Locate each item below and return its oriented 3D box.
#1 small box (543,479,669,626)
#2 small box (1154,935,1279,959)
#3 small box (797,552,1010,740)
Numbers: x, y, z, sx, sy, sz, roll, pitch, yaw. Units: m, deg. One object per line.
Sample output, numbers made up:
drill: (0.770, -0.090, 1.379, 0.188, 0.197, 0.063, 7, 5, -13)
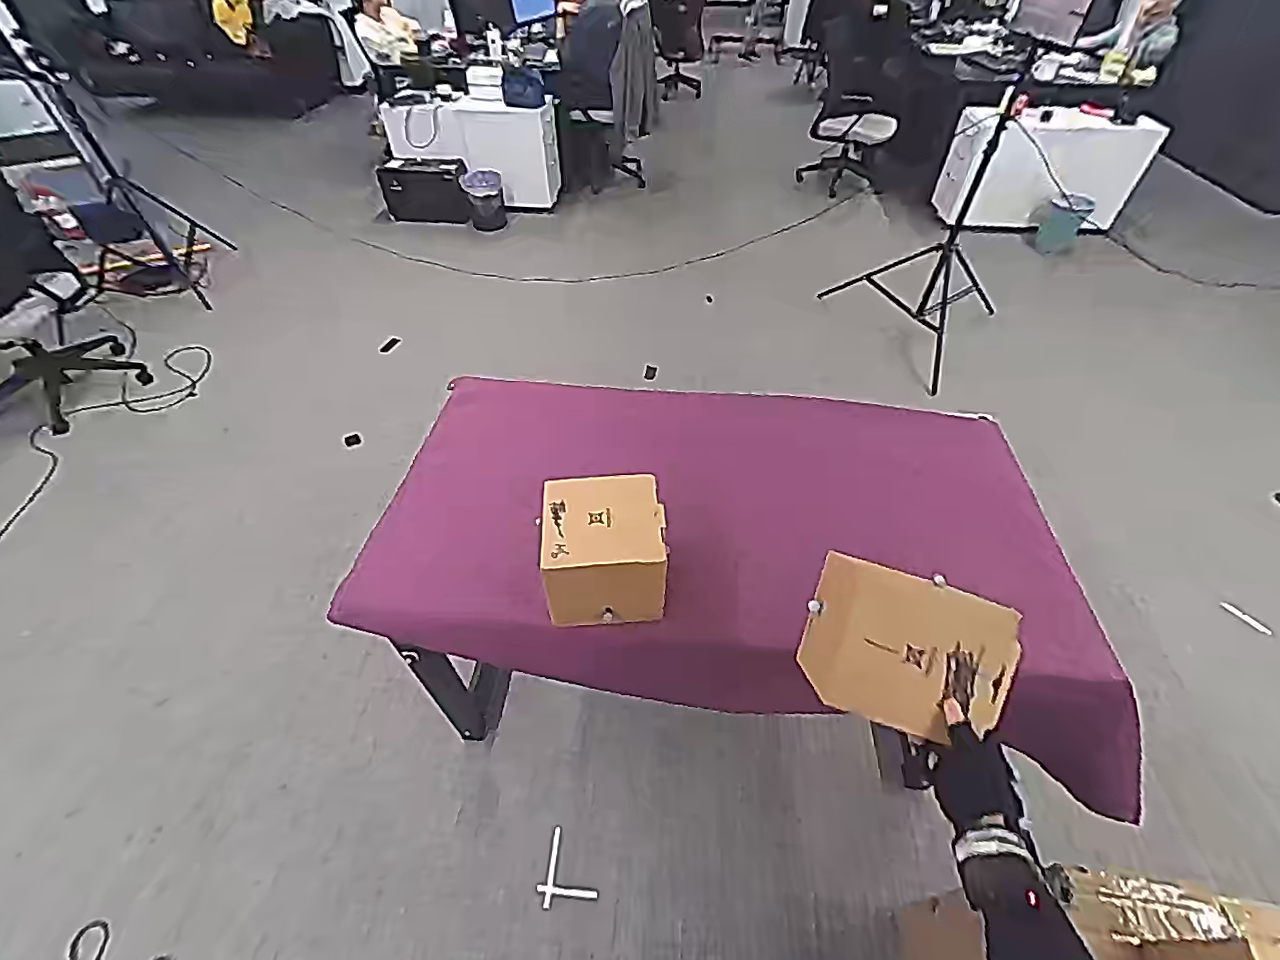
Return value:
small box: (-0.054, 0.116, 0.853, 0.179, 0.176, 0.168, -3, 46, -4)
small box: (0.700, 0.589, 0.551, 0.168, 0.176, 0.179, 1, 48, 5)
small box: (0.319, 0.194, 0.691, 0.179, 0.176, 0.168, 16, 88, 7)
